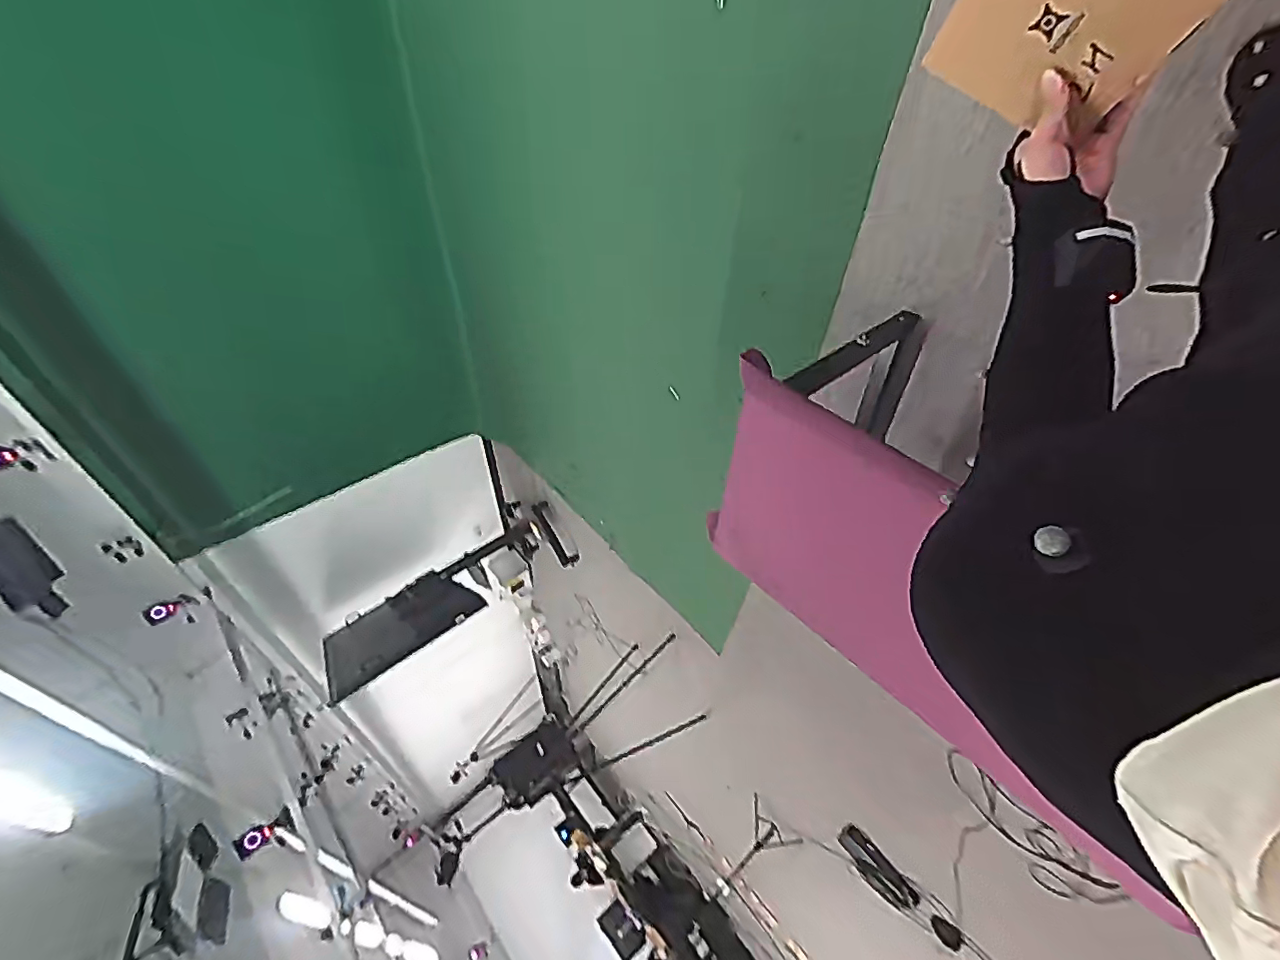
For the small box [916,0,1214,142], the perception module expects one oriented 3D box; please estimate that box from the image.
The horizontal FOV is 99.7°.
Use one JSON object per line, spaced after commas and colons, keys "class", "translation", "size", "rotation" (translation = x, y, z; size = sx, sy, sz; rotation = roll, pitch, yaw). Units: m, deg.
{"class": "small box", "translation": [0.394, -0.456, 0.468], "size": [0.179, 0.176, 0.168], "rotation": [35, 172, 3]}
